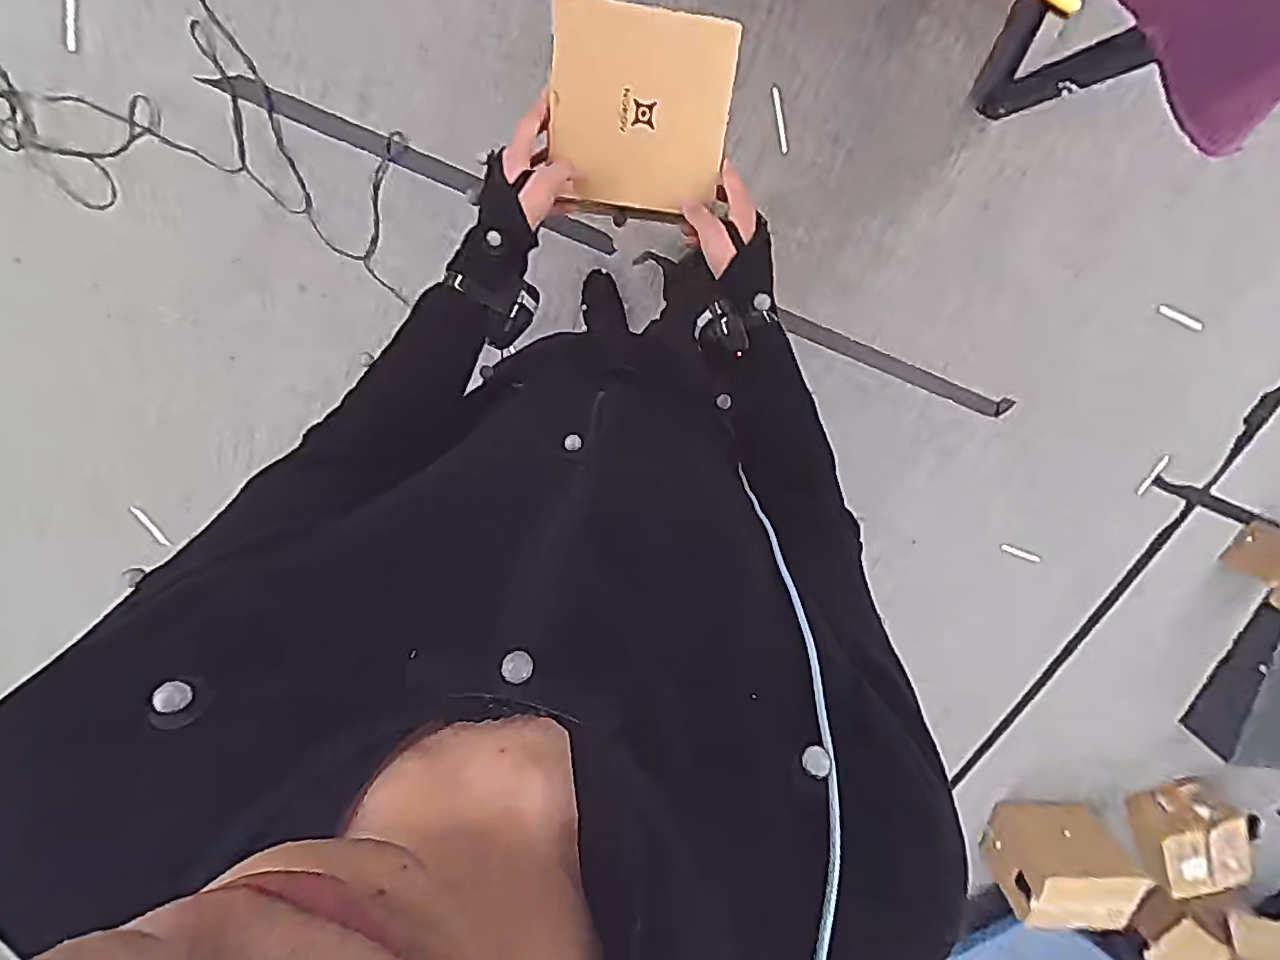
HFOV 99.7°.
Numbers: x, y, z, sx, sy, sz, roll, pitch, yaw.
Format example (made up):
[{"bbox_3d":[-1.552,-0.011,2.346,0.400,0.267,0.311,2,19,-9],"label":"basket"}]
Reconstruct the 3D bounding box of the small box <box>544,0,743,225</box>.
[{"bbox_3d":[-0.005,-0.378,0.589,0.179,0.176,0.168,5,113,-5],"label":"small box"}]
